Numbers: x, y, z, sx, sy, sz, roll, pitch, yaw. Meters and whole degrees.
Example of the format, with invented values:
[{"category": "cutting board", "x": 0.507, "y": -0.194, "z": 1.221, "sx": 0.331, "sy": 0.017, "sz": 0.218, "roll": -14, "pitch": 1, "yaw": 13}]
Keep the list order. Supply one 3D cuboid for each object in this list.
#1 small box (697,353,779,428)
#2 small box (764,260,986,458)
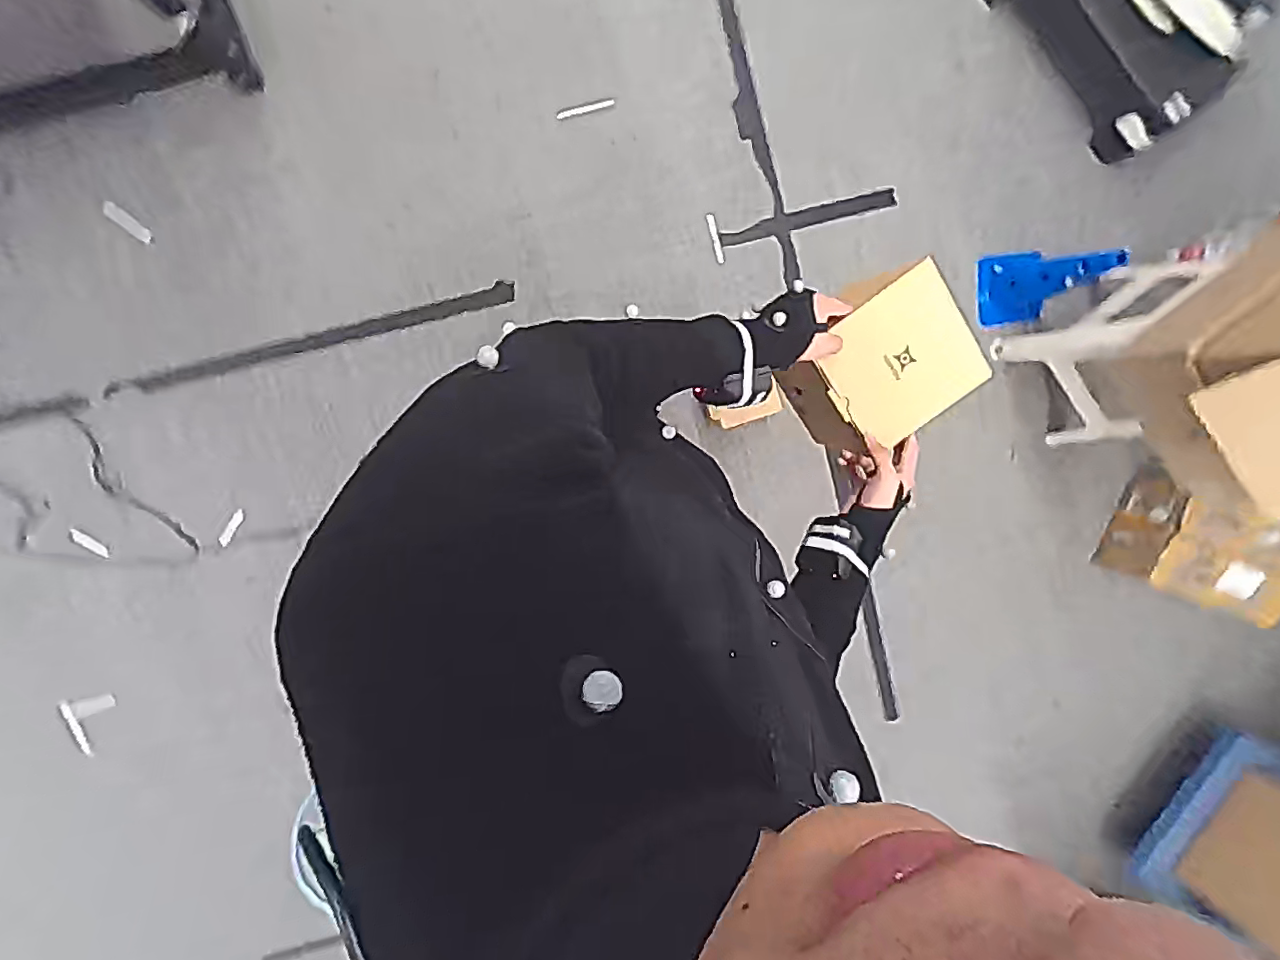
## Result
[{"category": "small box", "x": 0.267, "y": -0.248, "z": 1.522, "sx": 0.179, "sy": 0.176, "sz": 0.168, "roll": -17, "pitch": 99, "yaw": -2}, {"category": "small box", "x": 0.295, "y": -0.156, "z": 0.713, "sx": 0.179, "sy": 0.176, "sz": 0.168, "roll": -37, "pitch": 103, "yaw": 2}]
